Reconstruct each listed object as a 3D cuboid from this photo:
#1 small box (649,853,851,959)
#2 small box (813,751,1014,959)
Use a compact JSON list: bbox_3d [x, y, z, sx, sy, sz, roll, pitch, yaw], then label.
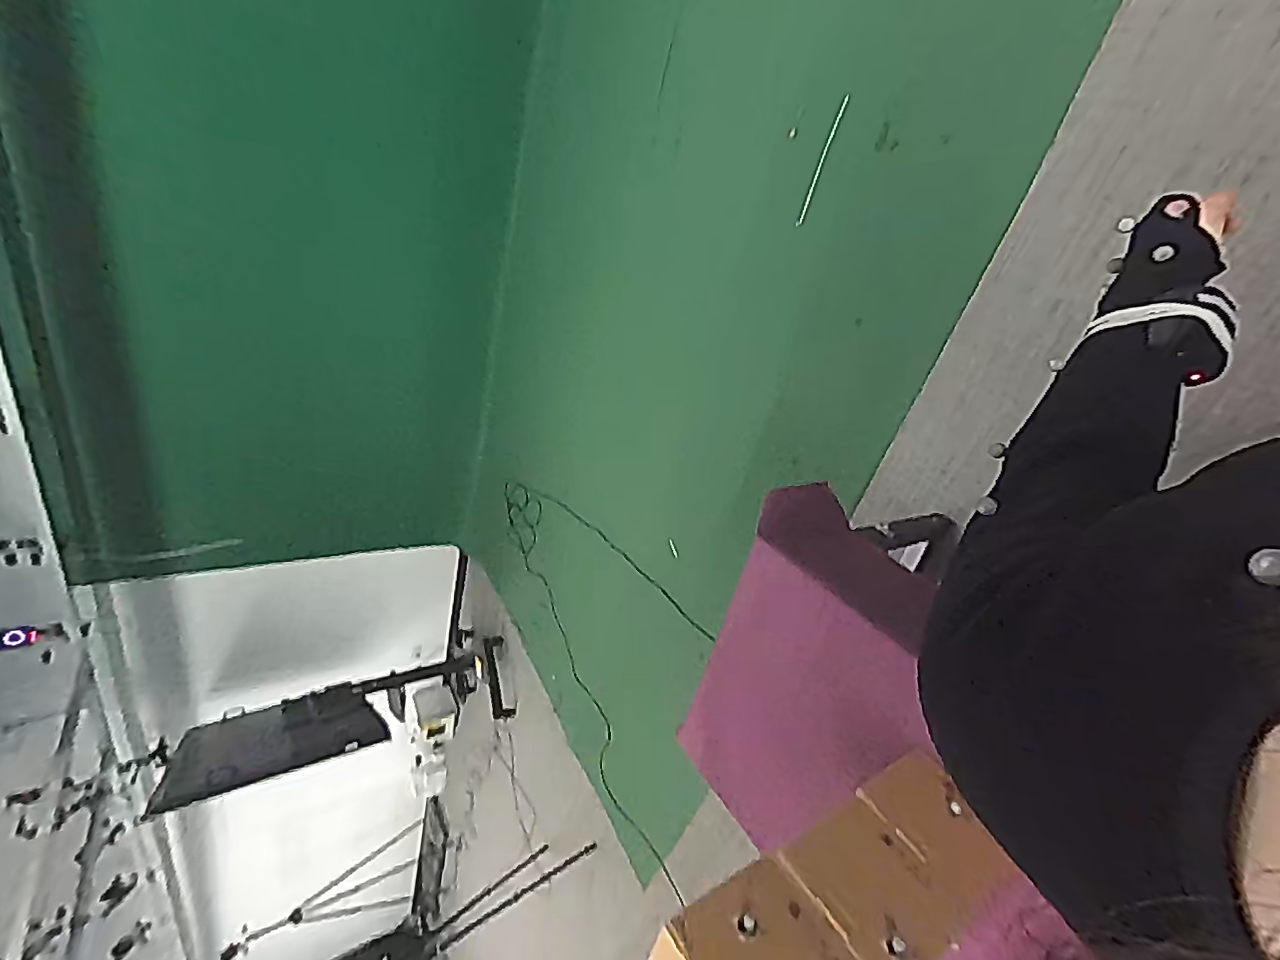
[{"bbox_3d":[0.122,0.563,0.593,0.168,0.176,0.179,41,126,46],"label":"small box"},{"bbox_3d":[0.391,0.534,0.779,0.168,0.176,0.179,43,127,43],"label":"small box"}]
